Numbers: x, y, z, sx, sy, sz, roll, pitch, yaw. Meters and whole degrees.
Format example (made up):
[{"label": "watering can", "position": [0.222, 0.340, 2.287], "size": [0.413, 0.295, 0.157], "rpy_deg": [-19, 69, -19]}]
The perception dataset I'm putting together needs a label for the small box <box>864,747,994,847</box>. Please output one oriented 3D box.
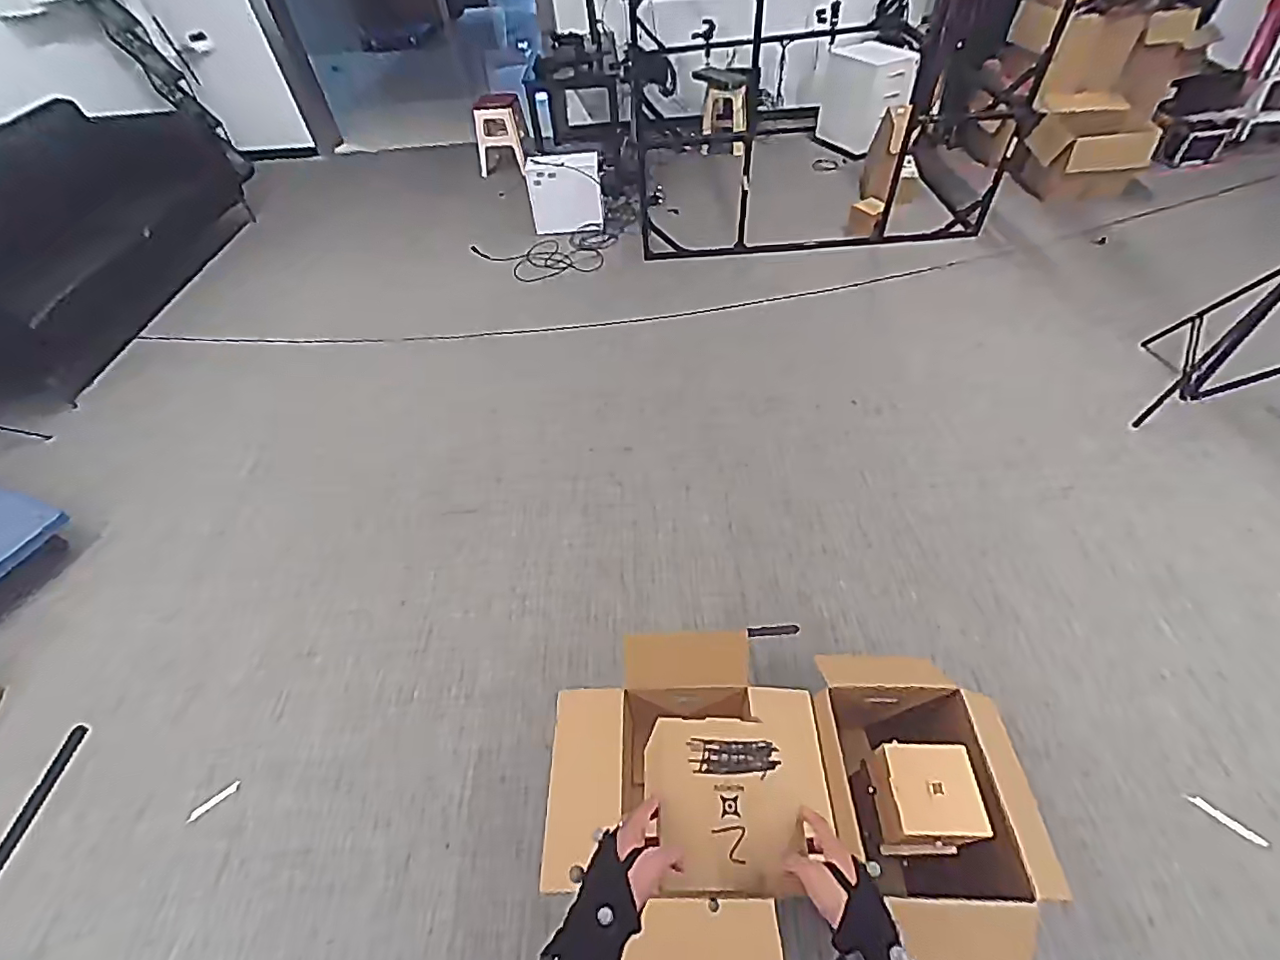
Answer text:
[{"label": "small box", "position": [0.608, 0.683, 1.162], "size": [0.179, 0.176, 0.168], "rpy_deg": [-1, 51, 3]}]
